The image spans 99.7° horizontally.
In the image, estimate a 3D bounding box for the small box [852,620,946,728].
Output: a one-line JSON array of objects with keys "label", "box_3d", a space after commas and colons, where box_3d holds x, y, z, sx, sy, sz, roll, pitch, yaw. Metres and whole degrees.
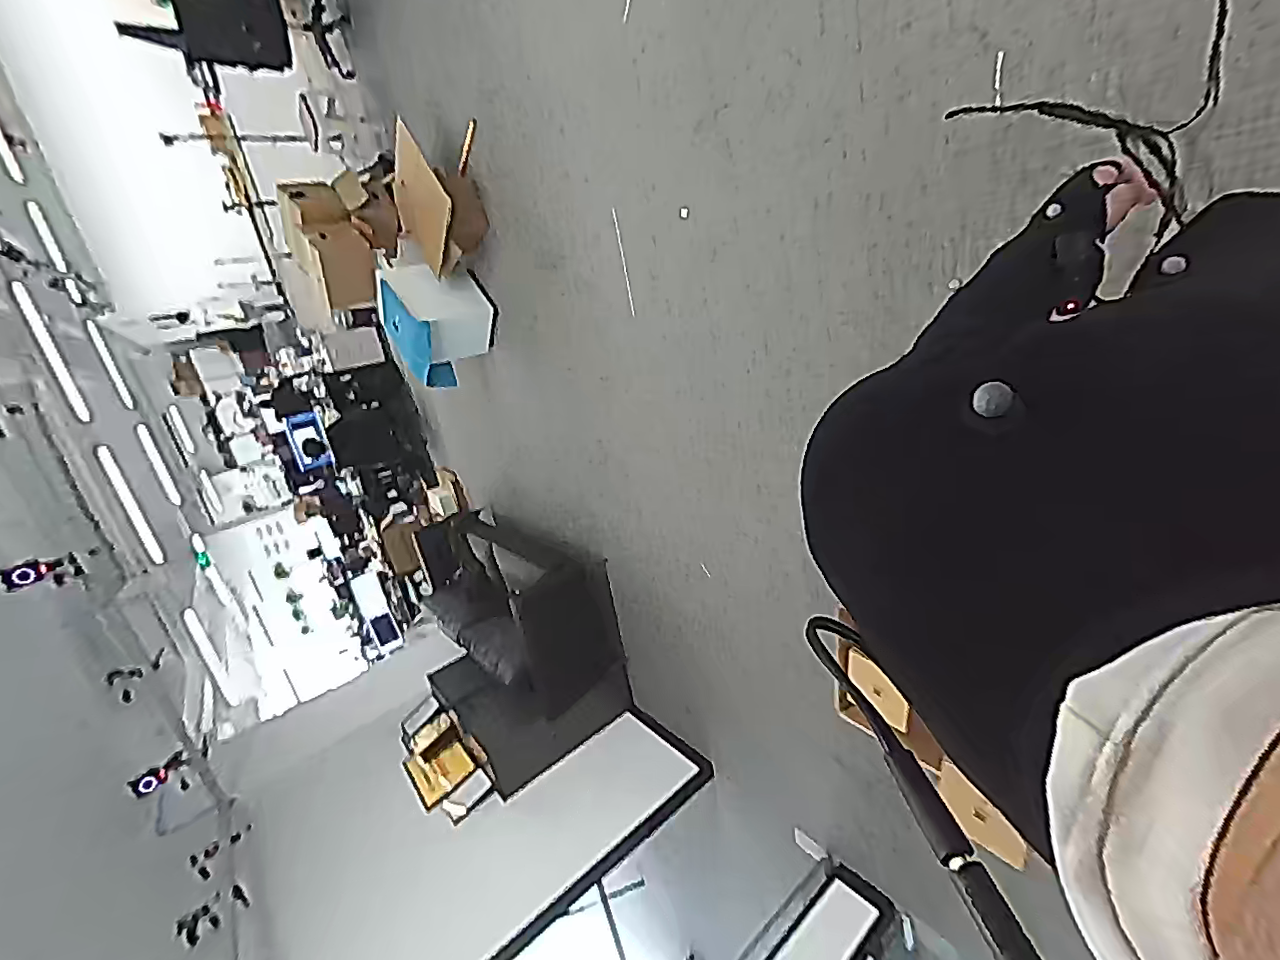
[{"label": "small box", "box_3d": [0.693, 0.512, 1.449, 0.168, 0.176, 0.179, 21, 125, 50]}]

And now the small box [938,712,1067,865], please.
[{"label": "small box", "box_3d": [0.753, 0.631, 1.125, 0.168, 0.176, 0.179, 22, 127, 47]}]
